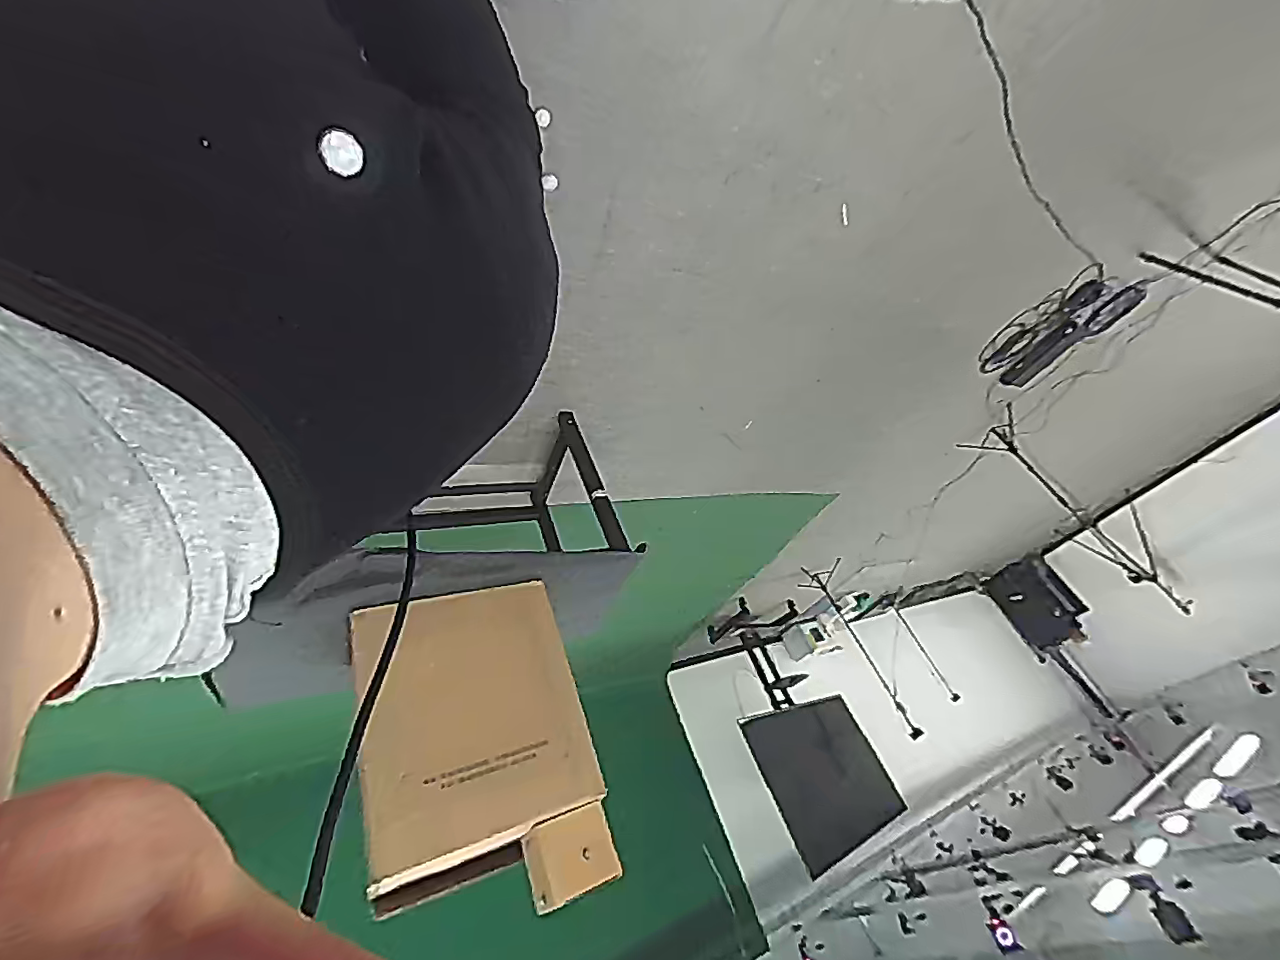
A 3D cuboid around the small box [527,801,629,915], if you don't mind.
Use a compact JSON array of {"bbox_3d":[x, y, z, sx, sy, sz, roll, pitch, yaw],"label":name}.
[{"bbox_3d":[-0.158,0.925,1.333,0.179,0.176,0.168,-7,142,-32],"label":"small box"}]
